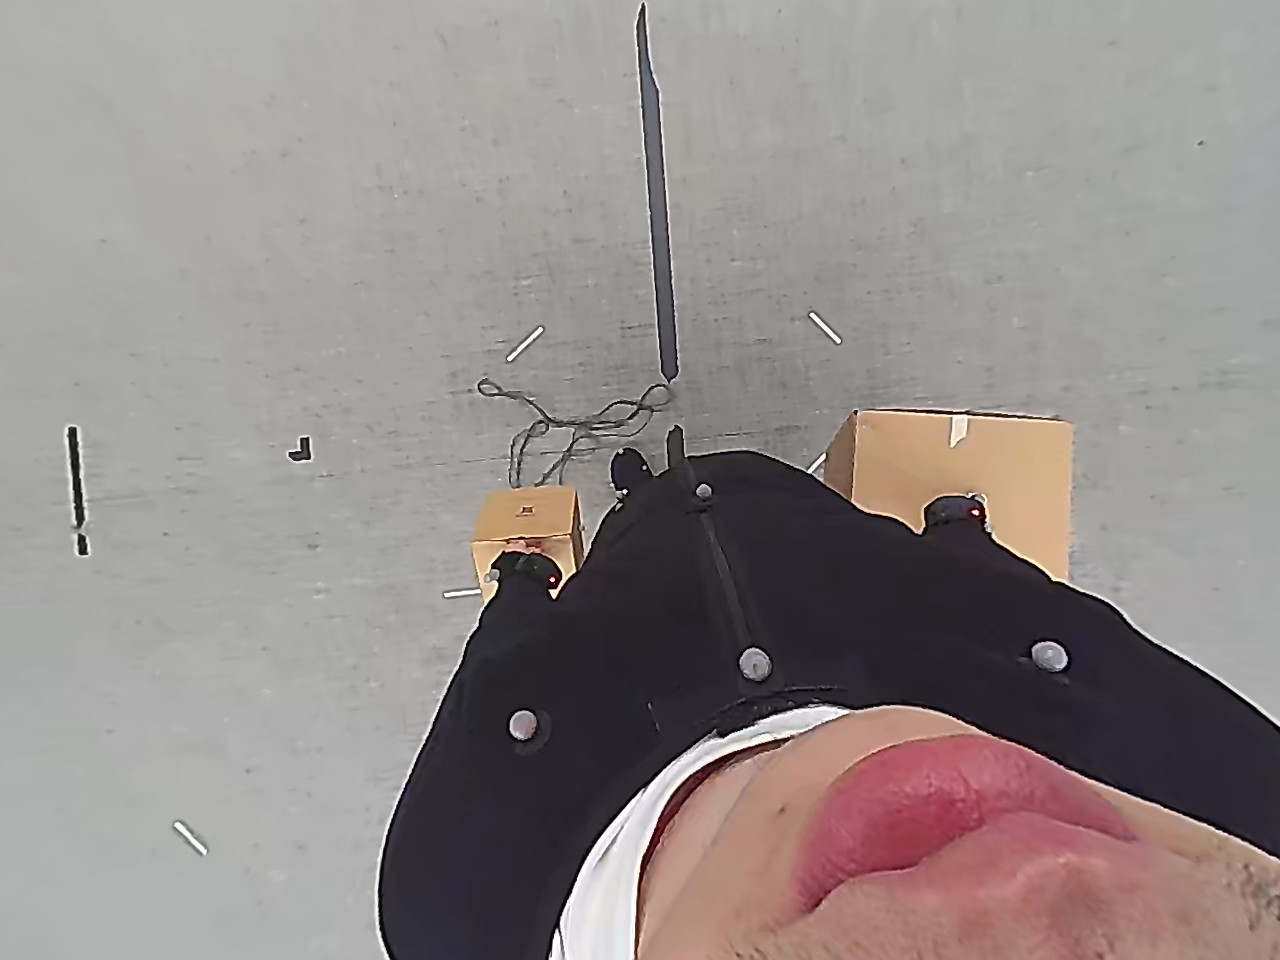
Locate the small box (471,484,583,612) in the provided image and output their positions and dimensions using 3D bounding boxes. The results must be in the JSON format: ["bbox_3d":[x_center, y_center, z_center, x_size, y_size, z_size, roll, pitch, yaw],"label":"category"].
[{"bbox_3d":[-0.194,0.127,0.990,0.168,0.179,0.176,-3,119,-2],"label":"small box"}]
